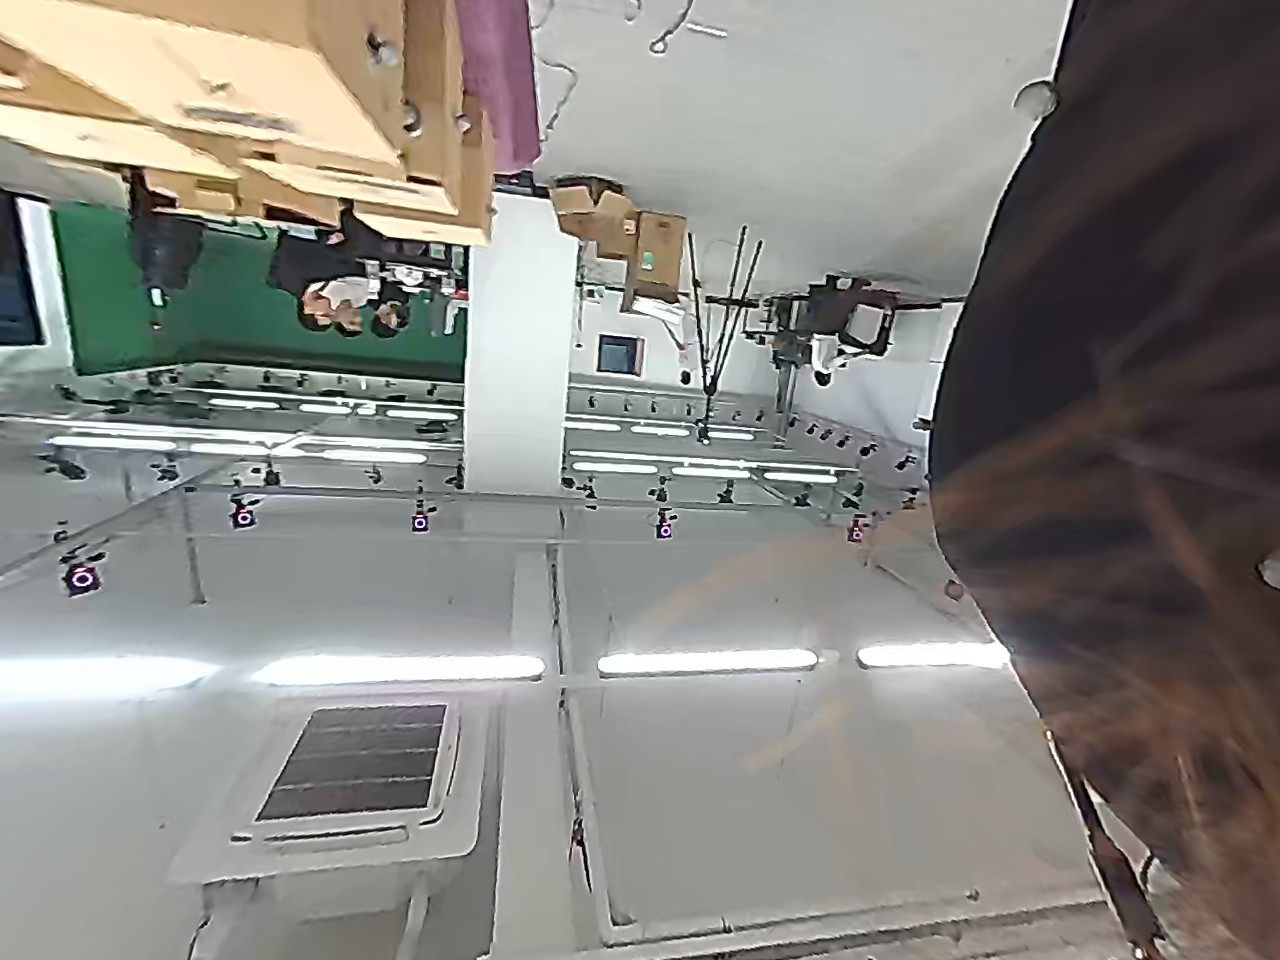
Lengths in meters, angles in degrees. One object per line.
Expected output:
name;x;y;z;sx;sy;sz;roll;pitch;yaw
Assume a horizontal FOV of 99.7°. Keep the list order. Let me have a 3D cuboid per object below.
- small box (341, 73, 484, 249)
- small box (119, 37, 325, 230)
small box;-0.318;-0.447;0.785;0.168;0.176;0.179;2;-165;-12
small box;-0.556;-0.460;0.746;0.168;0.176;0.179;2;-165;-10
